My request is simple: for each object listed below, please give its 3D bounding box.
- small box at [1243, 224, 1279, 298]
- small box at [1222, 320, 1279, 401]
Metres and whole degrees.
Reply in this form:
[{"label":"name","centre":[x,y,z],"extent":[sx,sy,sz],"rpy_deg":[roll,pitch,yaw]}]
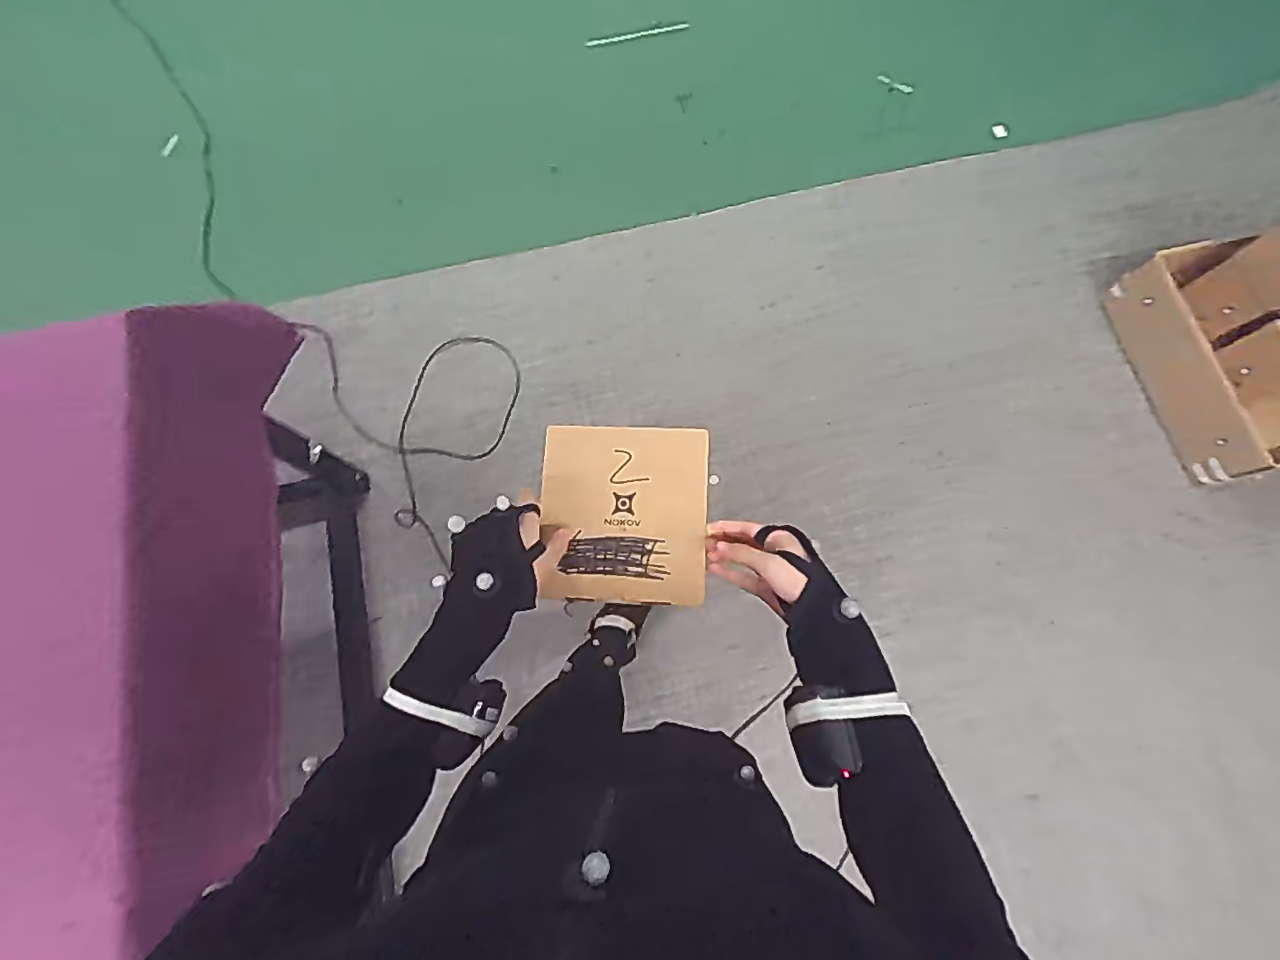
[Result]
[{"label":"small box","centre":[1.622,-0.550,1.277],"extent":[0.168,0.176,0.179],"rpy_deg":[-17,75,-2]},{"label":"small box","centre":[1.682,-0.323,1.382],"extent":[0.179,0.176,0.168],"rpy_deg":[-13,72,-2]}]
